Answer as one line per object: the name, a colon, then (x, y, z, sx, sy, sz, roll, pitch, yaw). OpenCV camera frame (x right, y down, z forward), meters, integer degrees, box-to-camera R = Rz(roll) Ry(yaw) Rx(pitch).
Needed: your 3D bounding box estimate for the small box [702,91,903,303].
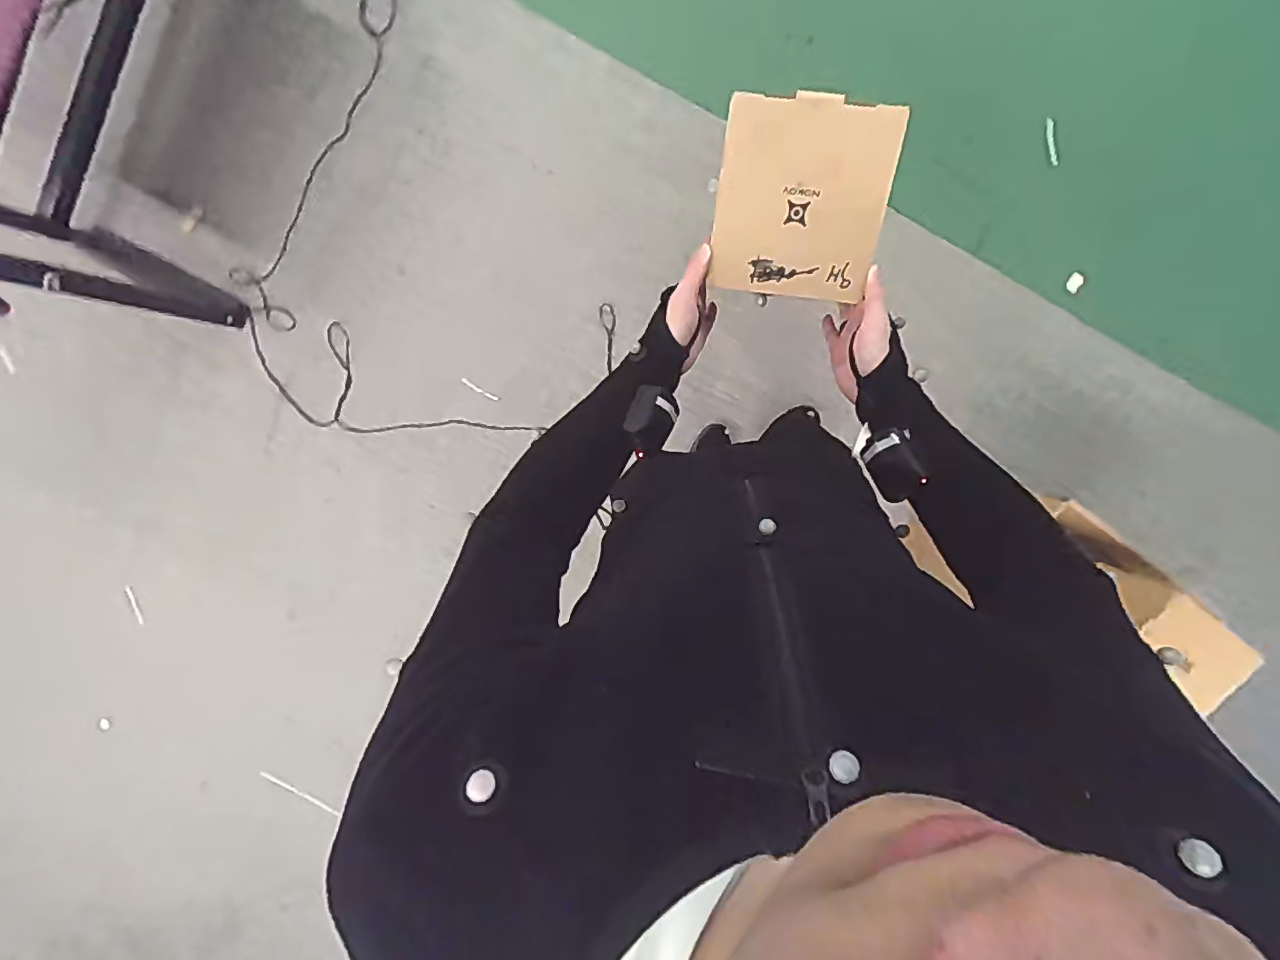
small box: (0.164, -0.303, 0.606, 0.168, 0.176, 0.179, 8, 113, 5)

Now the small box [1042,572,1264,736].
small box: (0.859, 0.285, 0.927, 0.179, 0.176, 0.168, 39, 98, 0)
